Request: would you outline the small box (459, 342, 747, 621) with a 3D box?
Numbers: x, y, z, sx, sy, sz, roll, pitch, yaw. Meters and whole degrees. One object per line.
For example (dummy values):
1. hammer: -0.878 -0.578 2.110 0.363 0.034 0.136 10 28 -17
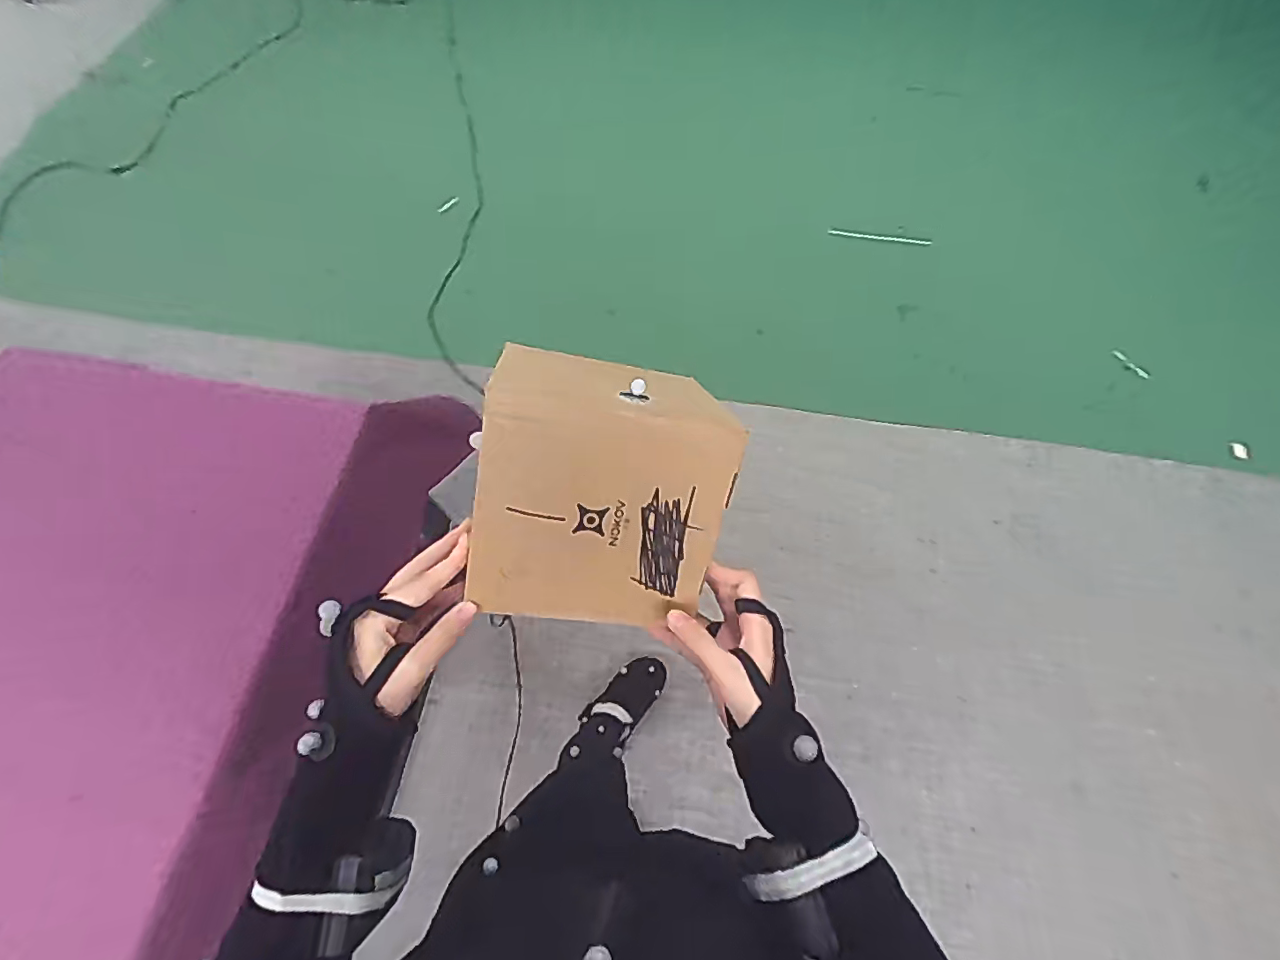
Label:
1. small box: -0.039 -0.008 0.449 0.179 0.168 0.176 10 22 -11
